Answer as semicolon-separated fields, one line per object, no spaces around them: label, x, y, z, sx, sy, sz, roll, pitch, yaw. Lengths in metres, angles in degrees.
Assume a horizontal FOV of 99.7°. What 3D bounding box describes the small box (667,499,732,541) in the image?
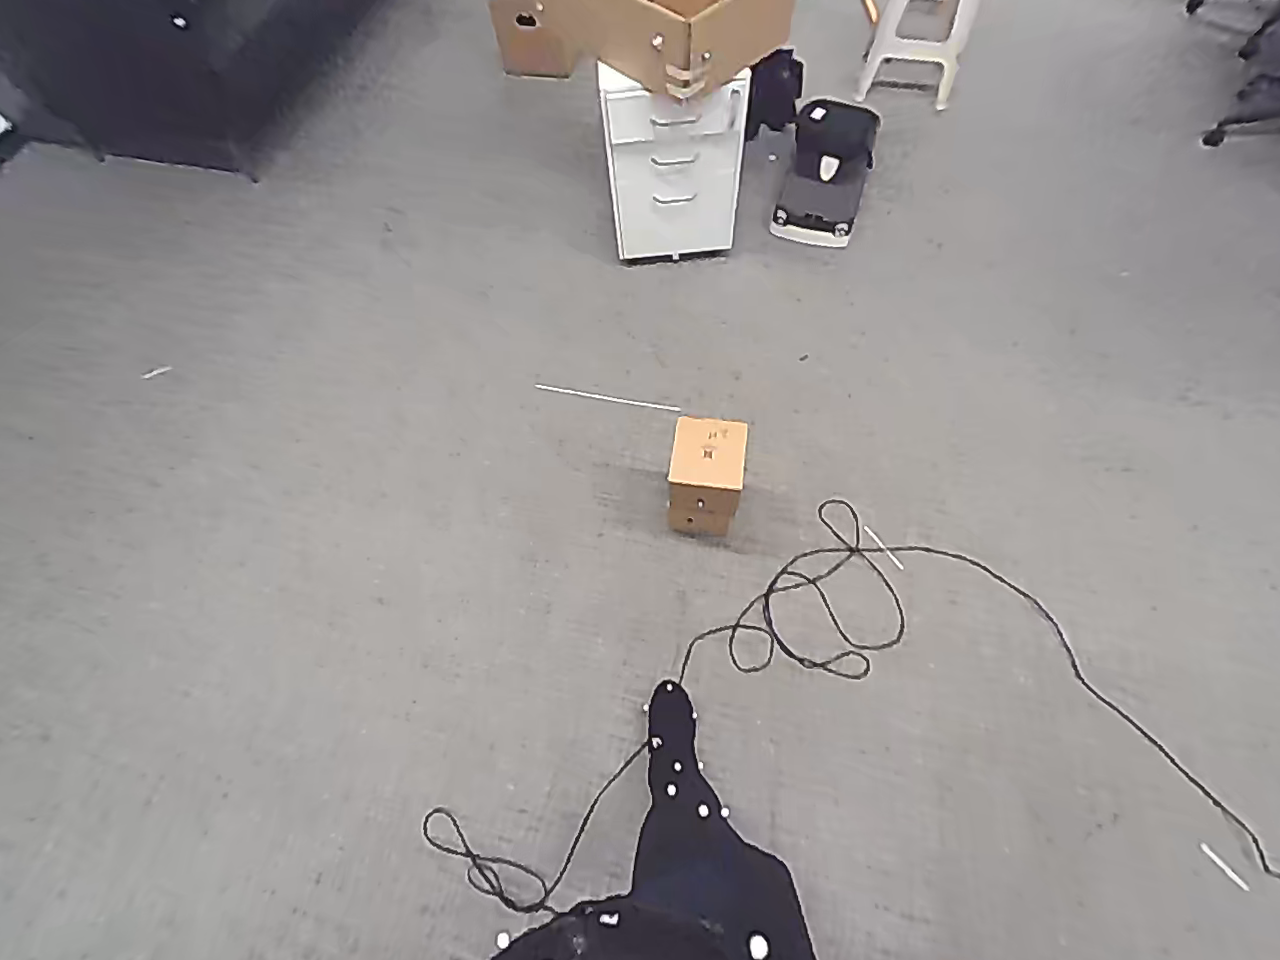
small box;0.170;0.050;1.455;0.168;0.176;0.179;8;64;8

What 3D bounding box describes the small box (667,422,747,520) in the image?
small box;0.162;-0.018;1.304;0.168;0.176;0.179;7;63;7
